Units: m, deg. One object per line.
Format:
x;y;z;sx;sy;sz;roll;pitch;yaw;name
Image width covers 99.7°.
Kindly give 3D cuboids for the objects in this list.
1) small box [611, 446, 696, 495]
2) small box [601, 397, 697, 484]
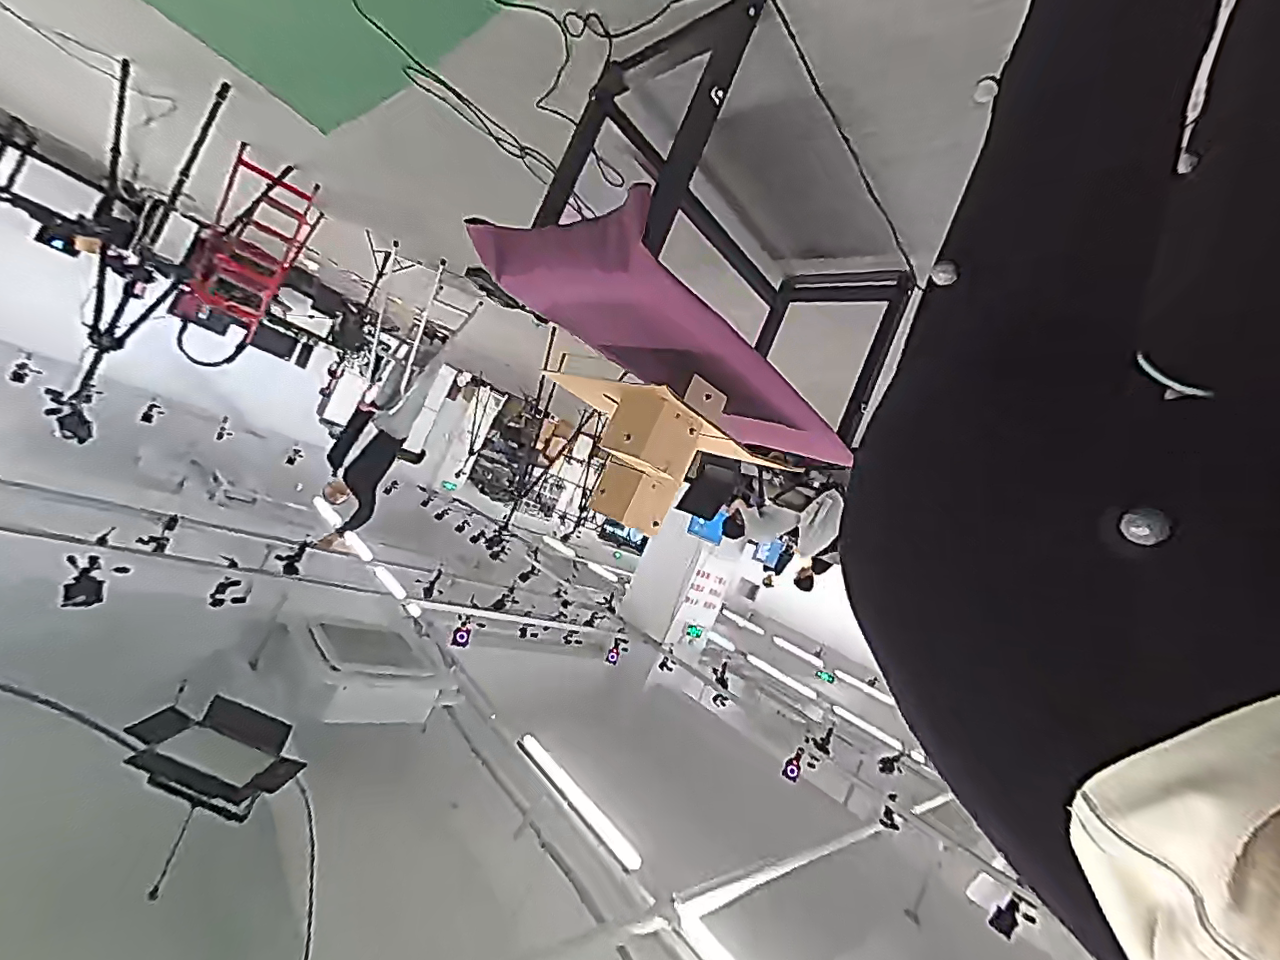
0.046;-0.076;1.718;0.179;0.176;0.168;18;172;46;small box
0.031;-0.110;1.447;0.168;0.176;0.179;29;174;-42;small box
